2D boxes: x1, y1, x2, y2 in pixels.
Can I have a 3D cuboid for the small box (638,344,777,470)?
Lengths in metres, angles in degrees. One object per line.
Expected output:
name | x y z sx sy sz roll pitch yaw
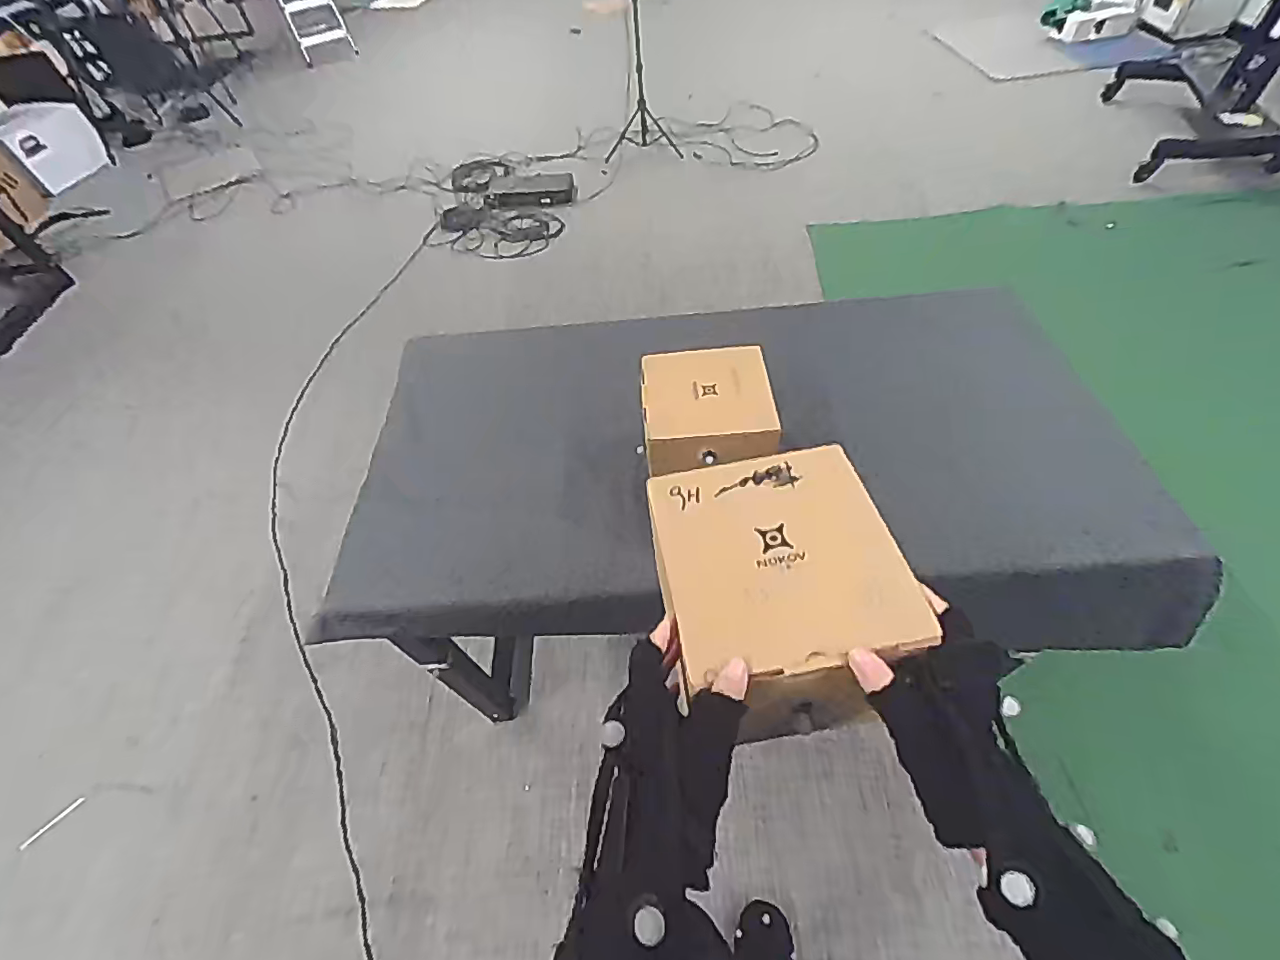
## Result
small box | 0.093 -0.078 0.800 0.179 0.176 0.168 -4 55 1

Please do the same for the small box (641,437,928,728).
small box | 0.100 0.094 0.454 0.168 0.176 0.179 -10 52 -2
